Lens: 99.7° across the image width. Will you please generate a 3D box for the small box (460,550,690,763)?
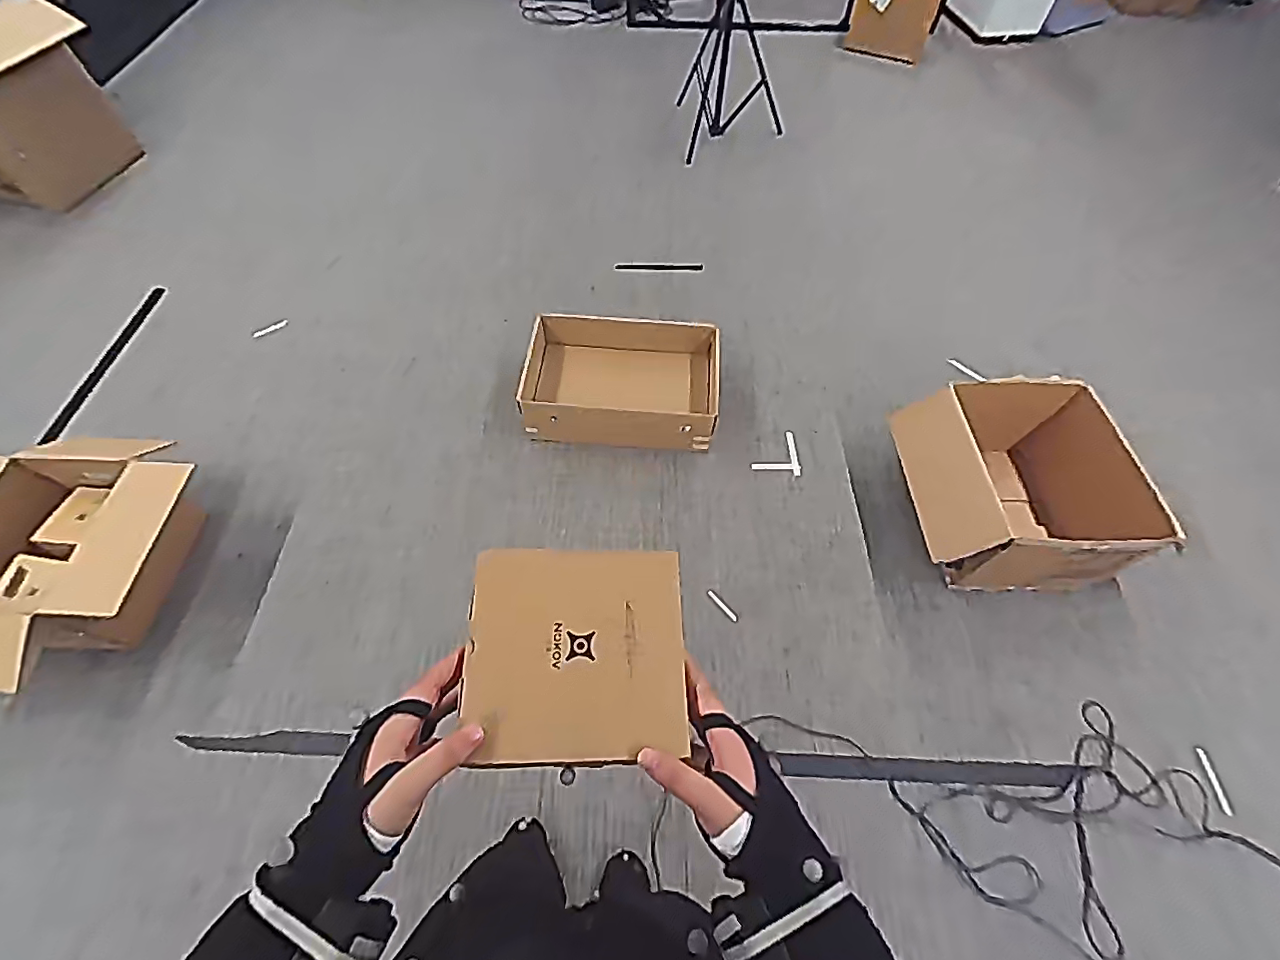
[{"bbox_3d":[-0.057,0.172,0.512,0.179,0.176,0.168,0,62,-6],"label":"small box"}]
